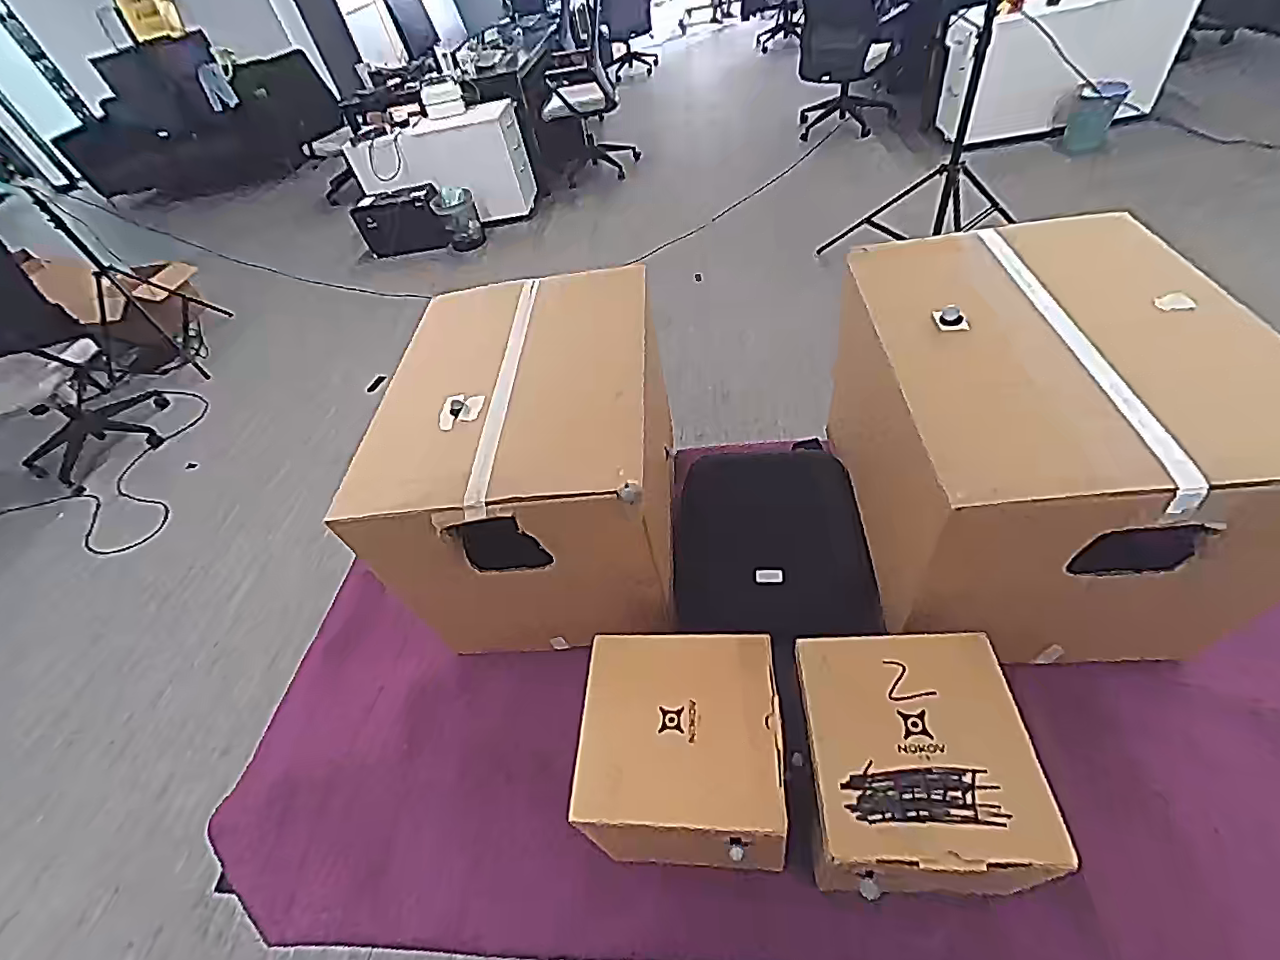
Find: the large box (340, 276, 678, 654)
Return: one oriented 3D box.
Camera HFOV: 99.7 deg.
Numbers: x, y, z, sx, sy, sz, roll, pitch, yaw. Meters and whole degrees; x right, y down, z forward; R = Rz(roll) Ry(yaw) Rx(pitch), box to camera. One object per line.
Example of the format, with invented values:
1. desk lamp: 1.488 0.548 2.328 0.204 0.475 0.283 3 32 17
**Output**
1. large box: -0.122 -0.019 0.742 0.320 0.320 0.408 -7 50 8
